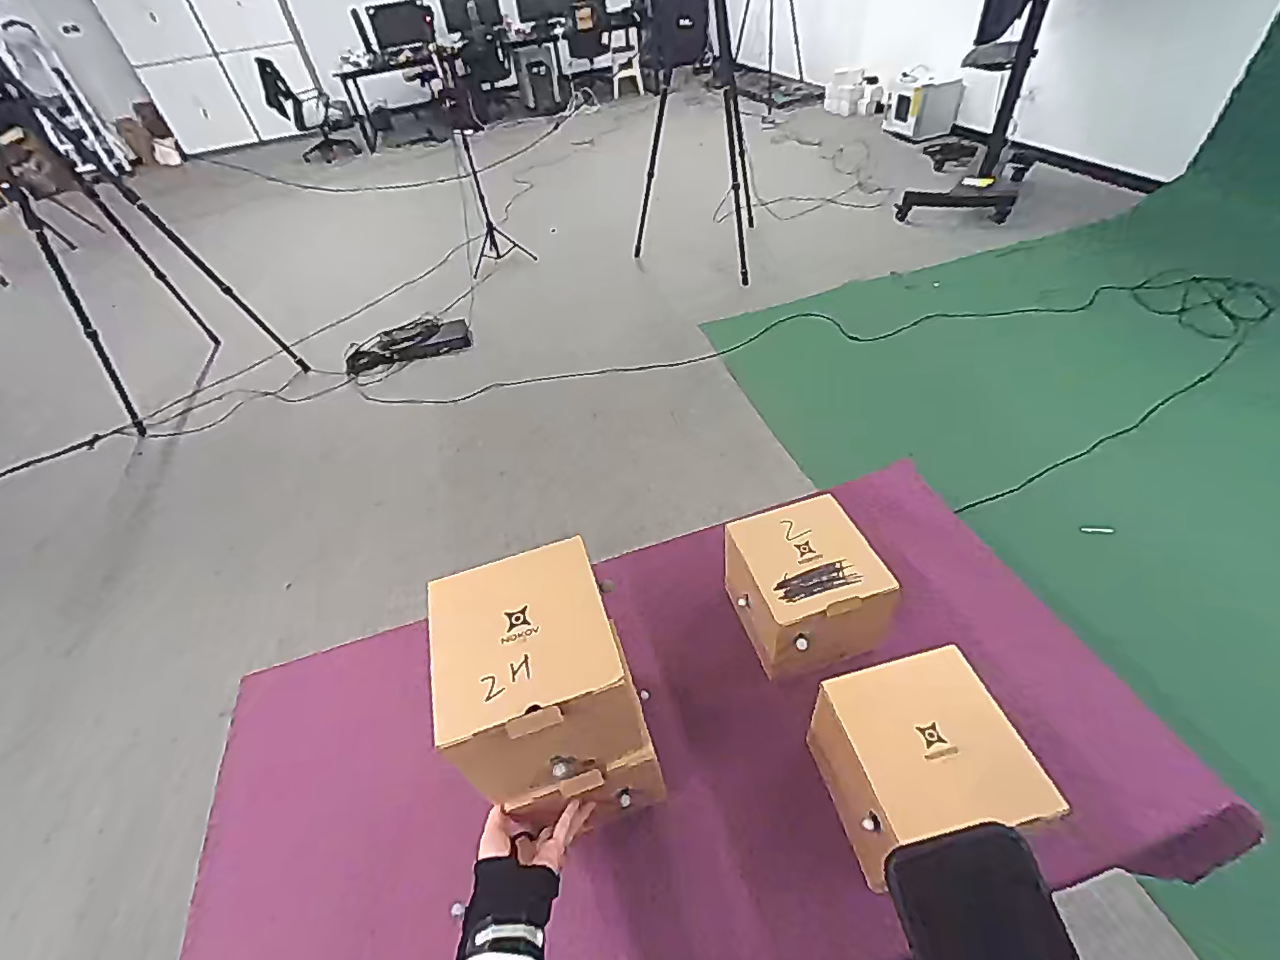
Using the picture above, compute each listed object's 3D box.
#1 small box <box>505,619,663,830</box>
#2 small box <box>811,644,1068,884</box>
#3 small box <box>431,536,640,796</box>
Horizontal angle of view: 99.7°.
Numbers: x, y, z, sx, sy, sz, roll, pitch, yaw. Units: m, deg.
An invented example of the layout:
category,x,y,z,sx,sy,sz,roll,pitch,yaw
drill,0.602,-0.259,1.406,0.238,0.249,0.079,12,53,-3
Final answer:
category,x,y,z,sx,sy,sz,roll,pitch,yaw
small box,-0.076,0.312,0.680,0.168,0.176,0.179,-17,45,-8
small box,0.309,0.319,0.609,0.168,0.176,0.179,-14,46,-4
small box,-0.107,0.194,0.568,0.168,0.176,0.179,-17,46,-8
